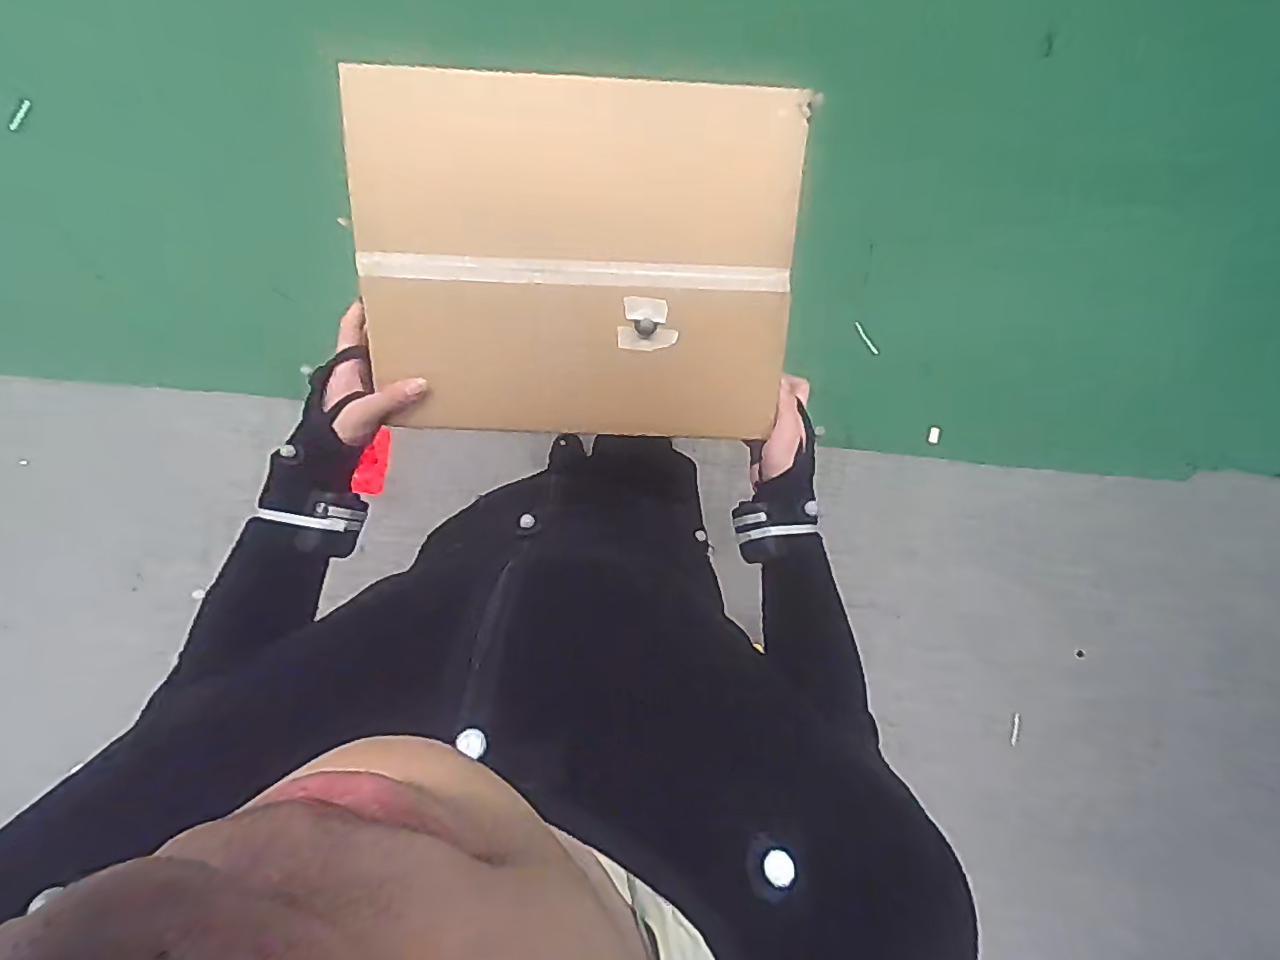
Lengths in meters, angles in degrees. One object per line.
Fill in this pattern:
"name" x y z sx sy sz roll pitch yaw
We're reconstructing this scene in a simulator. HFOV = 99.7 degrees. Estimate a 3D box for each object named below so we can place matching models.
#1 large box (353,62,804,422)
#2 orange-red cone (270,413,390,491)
"large box" -0.061 -0.254 0.659 0.408 0.320 0.320 2 108 -3
"orange-red cone" -0.824 -0.068 1.383 0.199 0.360 0.198 13 93 -4
